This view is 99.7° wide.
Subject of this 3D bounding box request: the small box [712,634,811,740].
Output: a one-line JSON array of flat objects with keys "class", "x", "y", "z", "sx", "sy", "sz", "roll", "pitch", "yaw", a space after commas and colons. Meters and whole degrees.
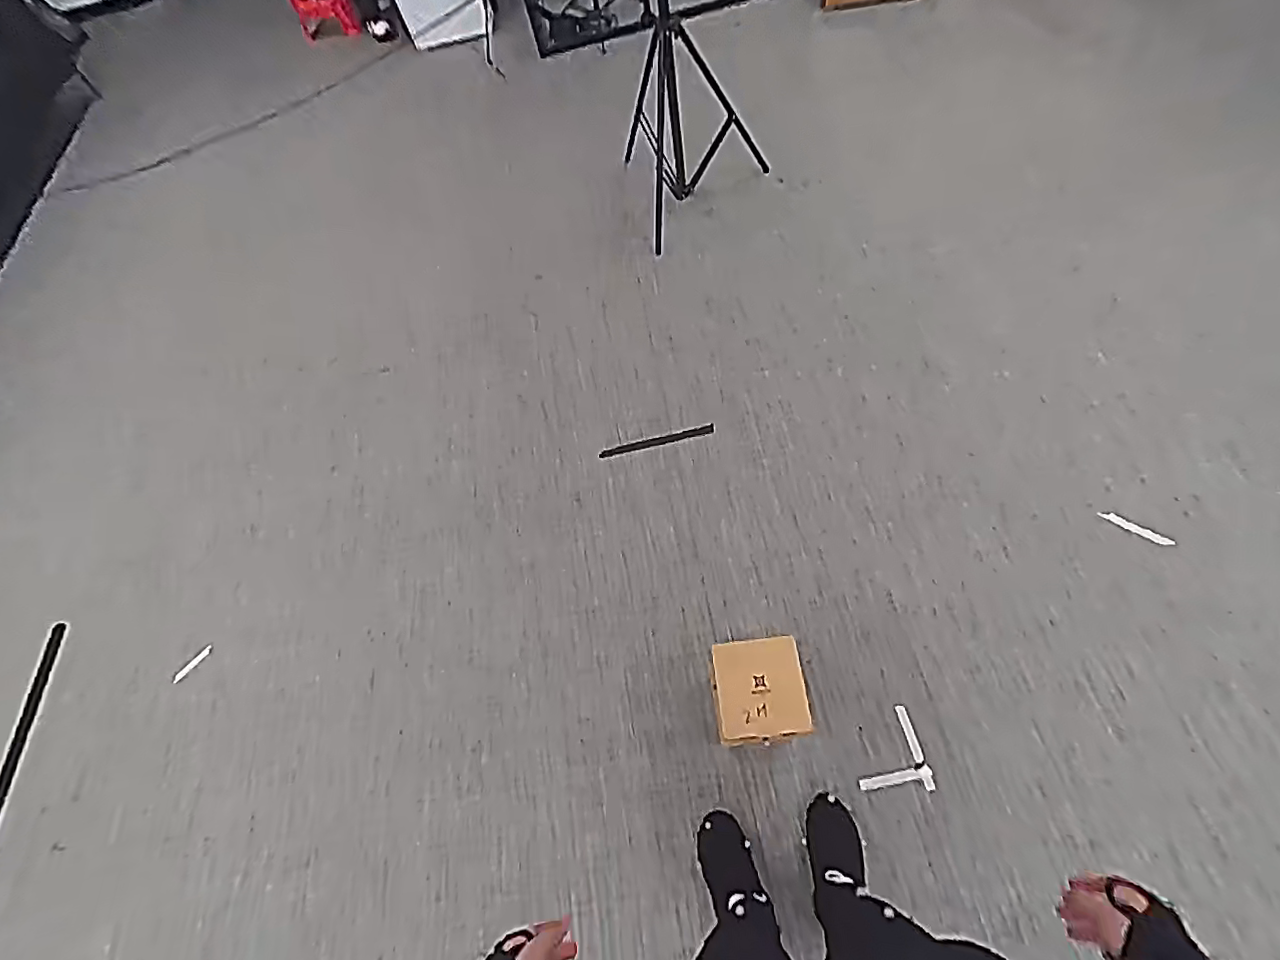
[{"class": "small box", "x": 0.239, "y": 0.423, "z": 1.094, "sx": 0.168, "sy": 0.176, "sz": 0.179, "roll": -8, "pitch": 63, "yaw": 7}]
